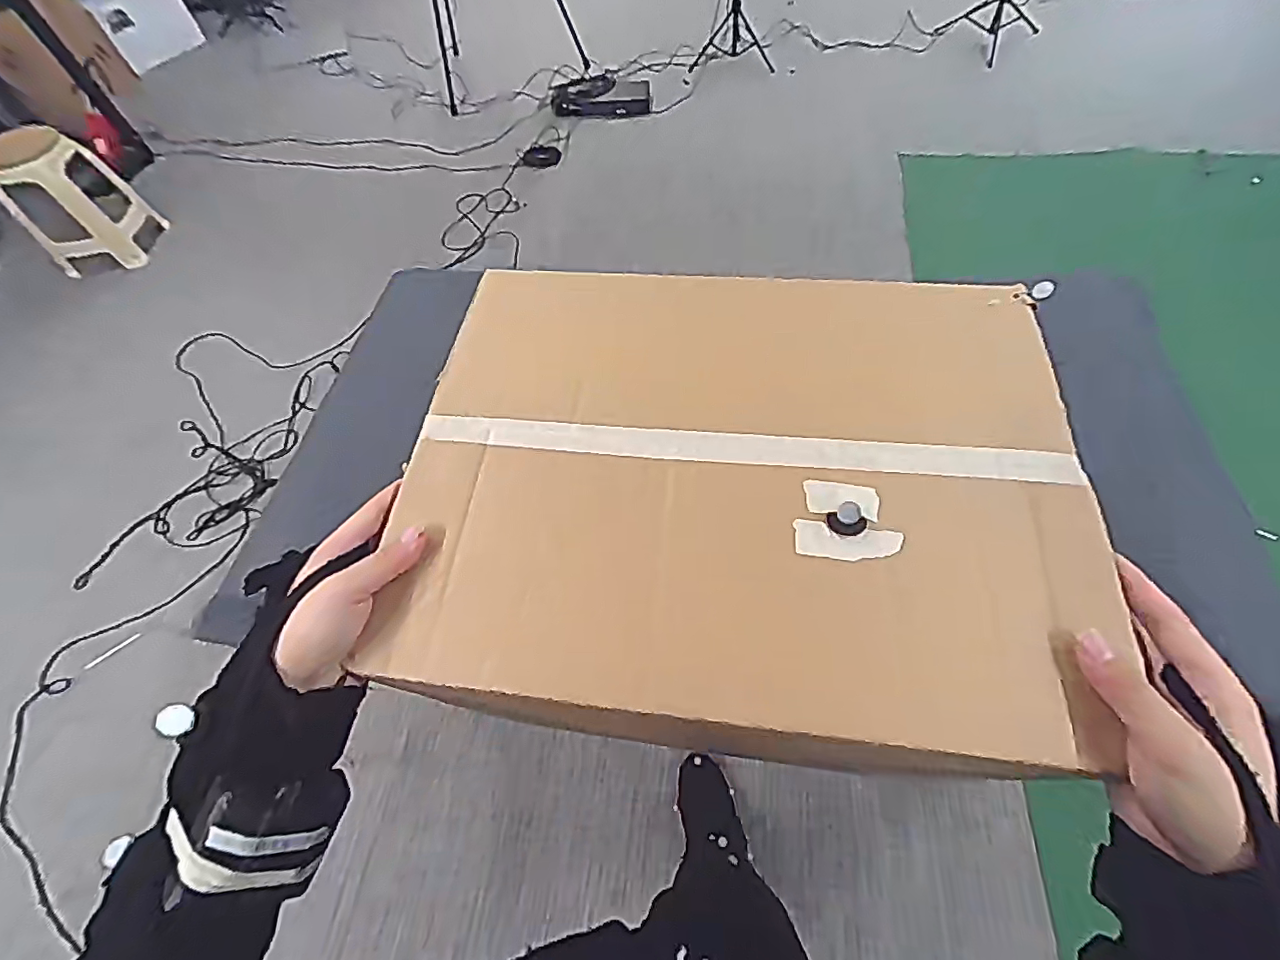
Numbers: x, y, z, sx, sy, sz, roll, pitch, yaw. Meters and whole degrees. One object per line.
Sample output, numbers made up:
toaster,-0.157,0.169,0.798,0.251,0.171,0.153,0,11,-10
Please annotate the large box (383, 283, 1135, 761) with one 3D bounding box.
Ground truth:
large box,0.072,0.054,0.486,0.408,0.320,0.320,5,62,6
